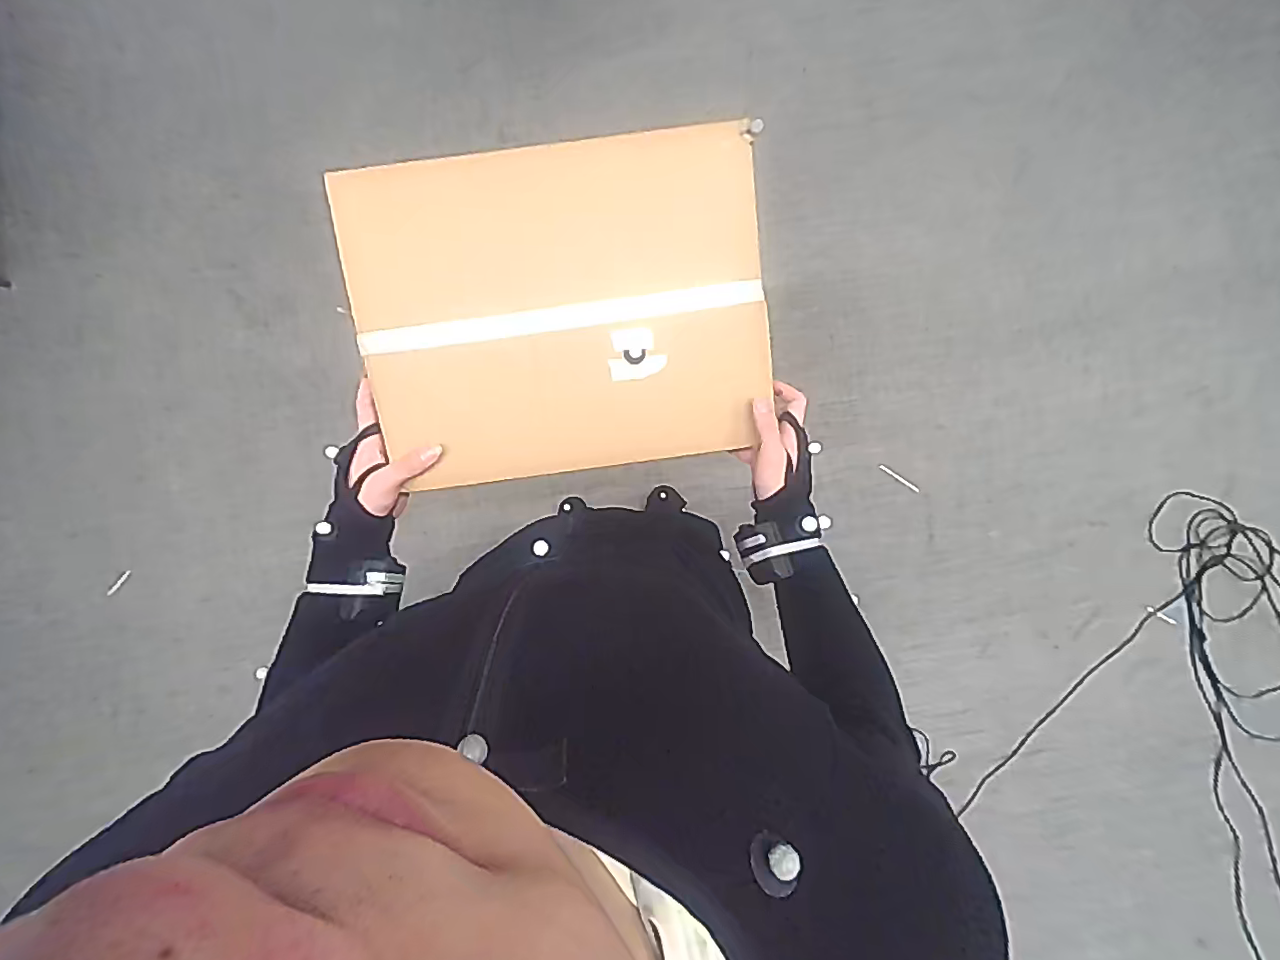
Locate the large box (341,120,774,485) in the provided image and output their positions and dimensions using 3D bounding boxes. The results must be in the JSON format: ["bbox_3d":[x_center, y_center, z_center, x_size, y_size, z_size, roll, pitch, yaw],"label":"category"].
[{"bbox_3d":[-0.080,-0.199,0.694,0.408,0.320,0.320,-8,102,-1],"label":"large box"}]

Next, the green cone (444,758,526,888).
[{"bbox_3d":[-0.447,0.936,1.449,0.200,0.368,0.202,-3,90,0],"label":"green cone"}]
